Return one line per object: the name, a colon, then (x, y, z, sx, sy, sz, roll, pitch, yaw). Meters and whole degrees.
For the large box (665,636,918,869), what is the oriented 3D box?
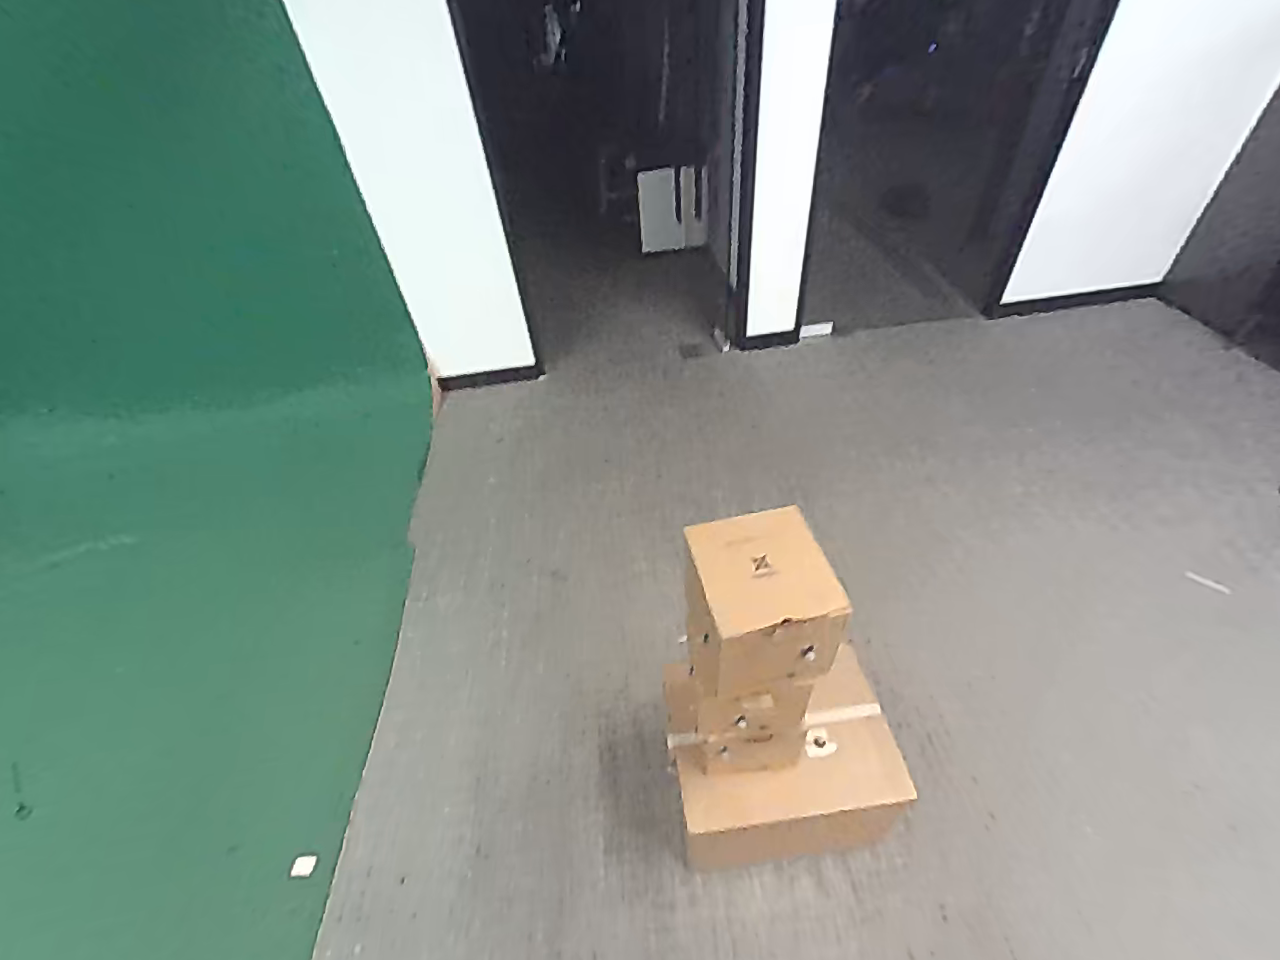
large box: (0.276, 0.569, 1.131, 0.408, 0.320, 0.320, -7, 45, -2)

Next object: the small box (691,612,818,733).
small box: (0.168, 0.278, 0.858, 0.168, 0.176, 0.179, -4, 44, 2)

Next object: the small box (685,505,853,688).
small box: (0.163, 0.165, 0.741, 0.168, 0.176, 0.179, -10, 44, -6)
